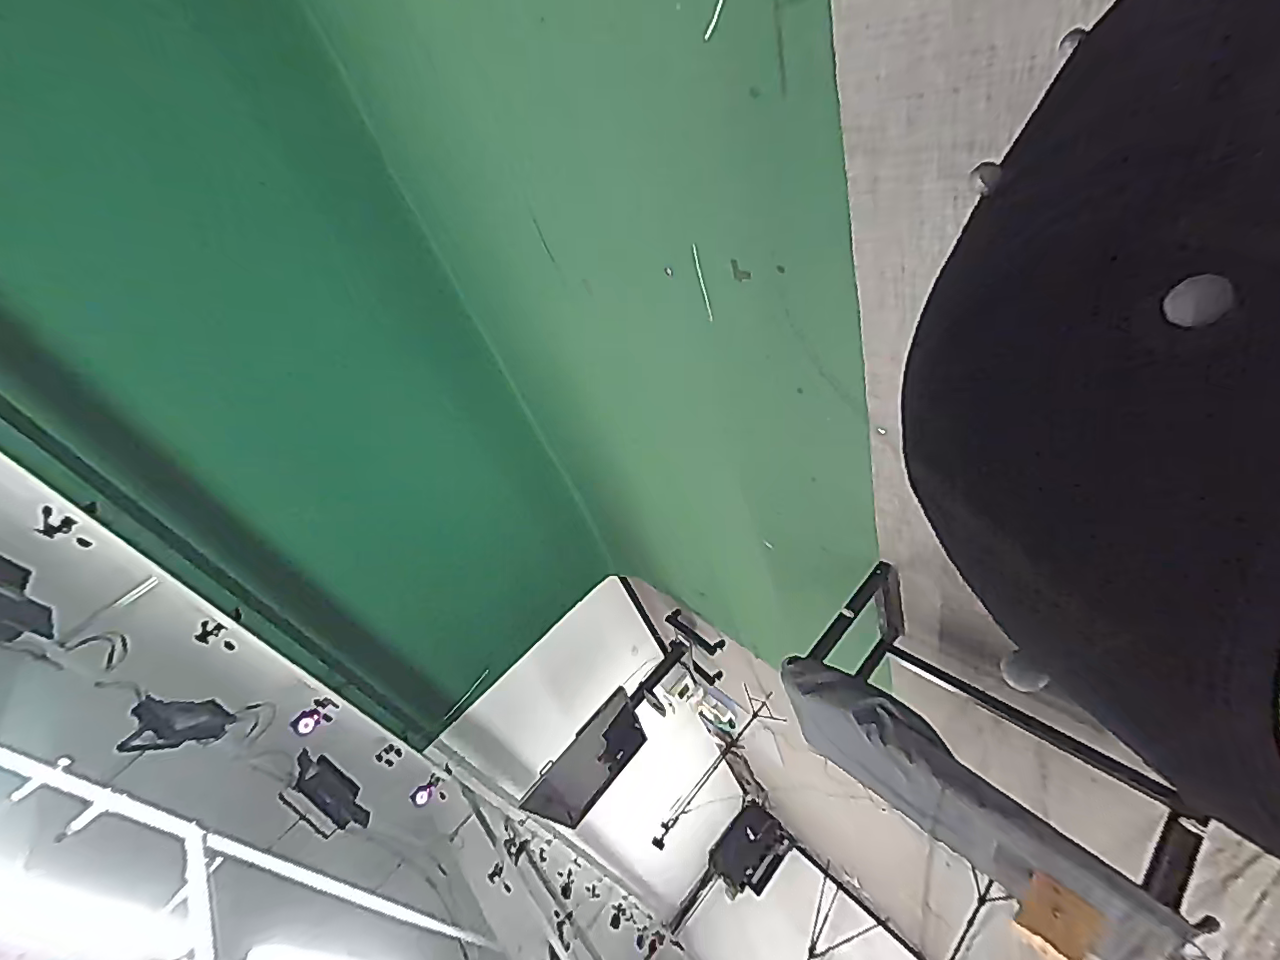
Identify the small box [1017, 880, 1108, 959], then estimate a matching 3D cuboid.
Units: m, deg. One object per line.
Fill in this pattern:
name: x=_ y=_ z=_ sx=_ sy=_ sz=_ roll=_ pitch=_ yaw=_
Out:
small box: x=1.257 y=1.345 z=1.609 sx=0.168 sy=0.176 sz=0.179 roll=24 pitch=147 yaw=48
